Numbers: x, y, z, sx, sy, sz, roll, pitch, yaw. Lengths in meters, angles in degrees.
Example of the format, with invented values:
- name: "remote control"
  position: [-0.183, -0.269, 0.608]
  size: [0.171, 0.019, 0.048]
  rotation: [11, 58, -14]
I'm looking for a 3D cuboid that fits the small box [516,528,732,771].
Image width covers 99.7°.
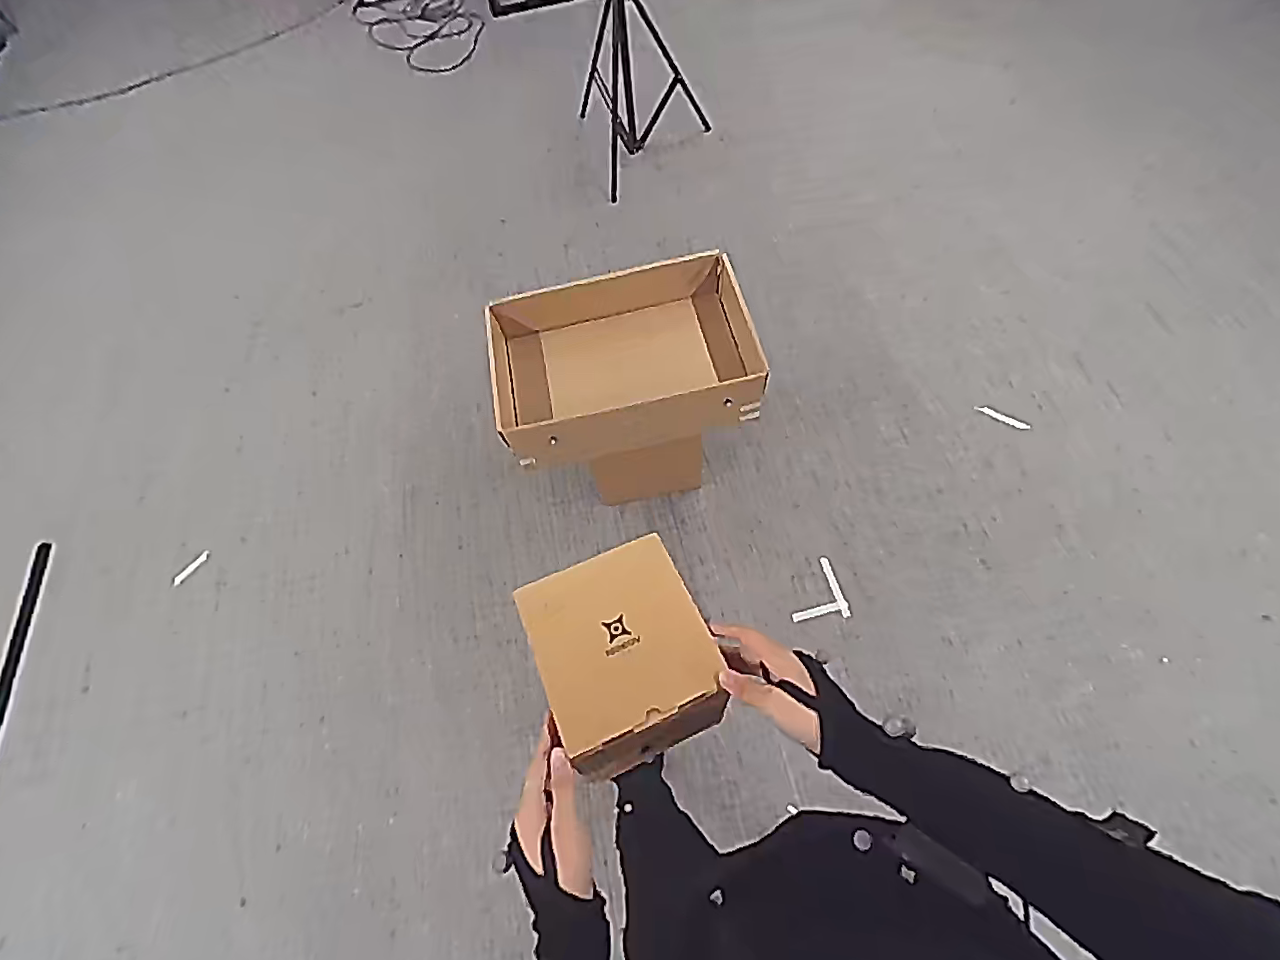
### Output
- name: "small box"
  position: [-0.021, 0.187, 0.590]
  size: [0.168, 0.176, 0.179]
  rotation: [-21, 57, -13]
